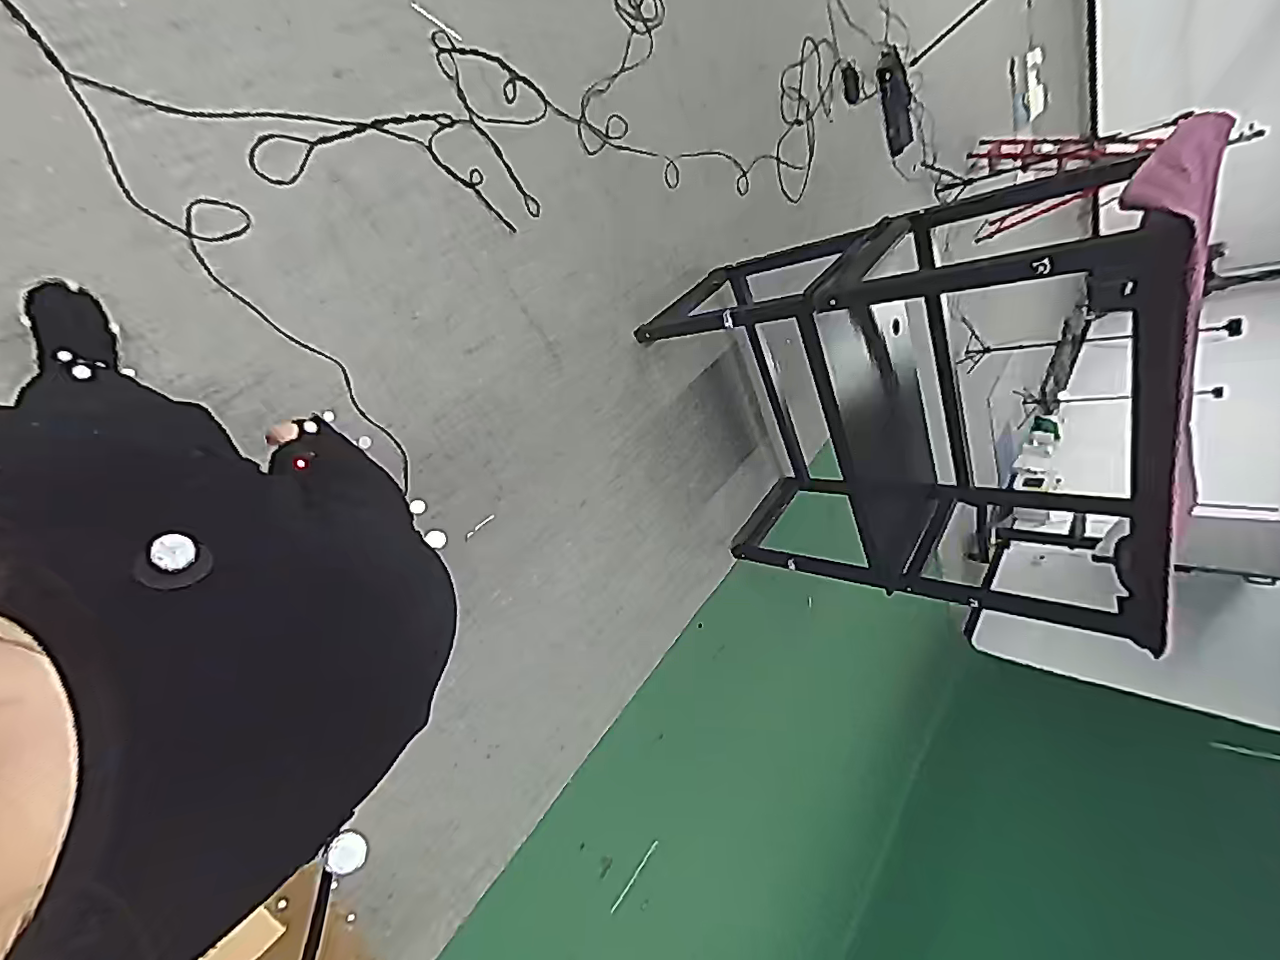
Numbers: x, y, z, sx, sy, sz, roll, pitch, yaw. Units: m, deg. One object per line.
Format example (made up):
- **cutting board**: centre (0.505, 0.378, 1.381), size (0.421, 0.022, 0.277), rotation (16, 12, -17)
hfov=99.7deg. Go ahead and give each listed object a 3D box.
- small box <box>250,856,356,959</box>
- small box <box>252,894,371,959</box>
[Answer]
- **small box**: centre (-0.838, 1.069, 1.309), size (0.179, 0.176, 0.168), rotation (-41, 120, -34)
- **small box**: centre (-0.727, 1.078, 1.191), size (0.179, 0.176, 0.168), rotation (-44, 123, -33)
